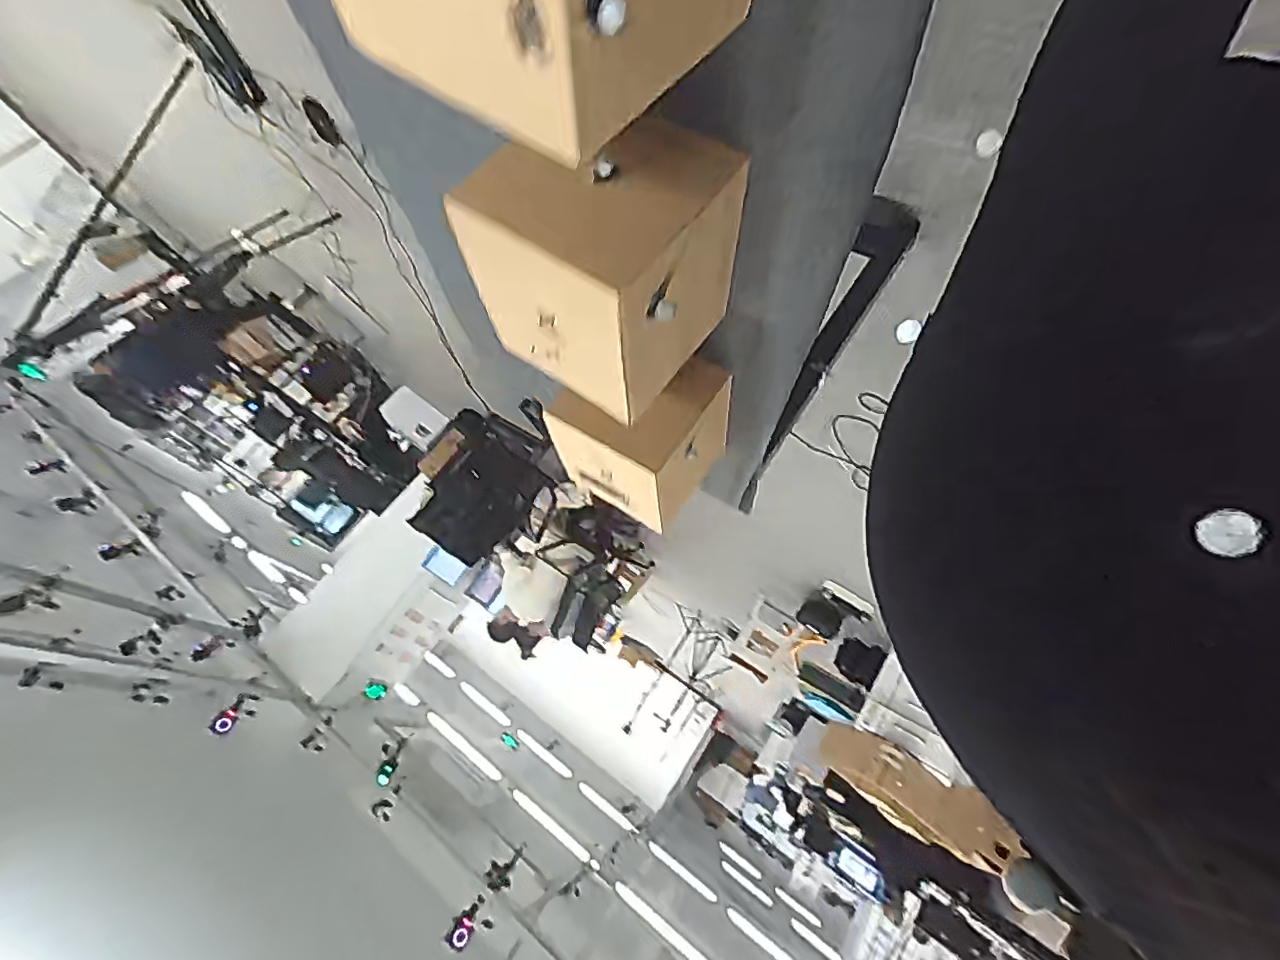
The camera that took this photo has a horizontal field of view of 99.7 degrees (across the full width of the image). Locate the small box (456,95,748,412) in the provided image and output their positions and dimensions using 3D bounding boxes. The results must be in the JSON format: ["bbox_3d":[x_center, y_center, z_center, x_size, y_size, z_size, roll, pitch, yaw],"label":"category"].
[{"bbox_3d":[-0.022,-0.201,0.481,0.168,0.176,0.179,34,162,15],"label":"small box"}]

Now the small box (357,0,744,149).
[{"bbox_3d":[-0.043,-0.312,0.255,0.179,0.176,0.168,36,162,12],"label":"small box"}]
